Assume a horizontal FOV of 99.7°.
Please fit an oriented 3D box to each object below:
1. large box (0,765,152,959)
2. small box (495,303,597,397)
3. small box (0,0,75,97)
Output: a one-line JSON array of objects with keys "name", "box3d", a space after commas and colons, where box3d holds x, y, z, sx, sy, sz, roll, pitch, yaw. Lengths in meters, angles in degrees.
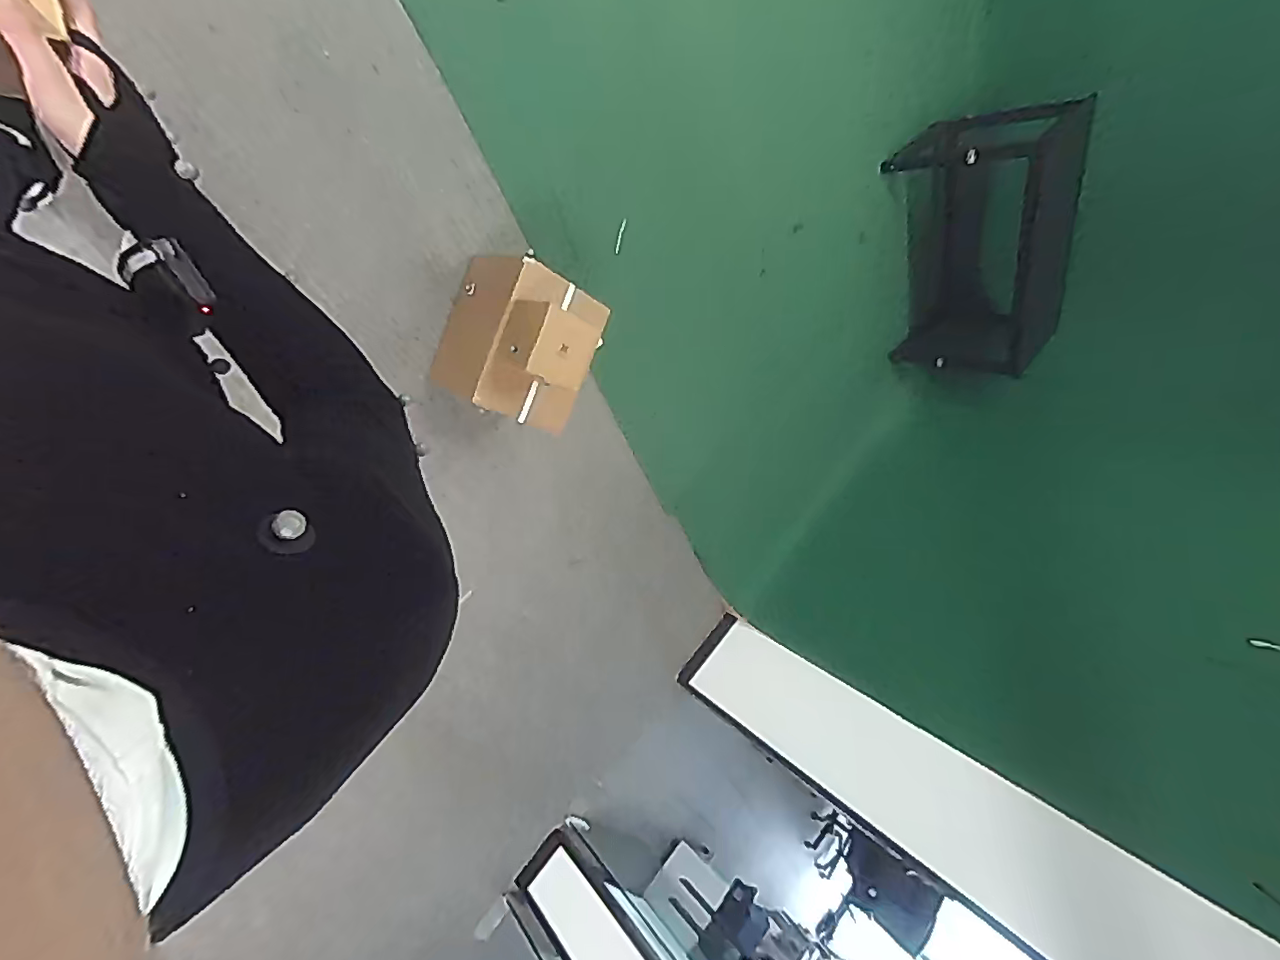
[{"name": "large box", "box3d": [-1.397, 0.945, 1.200, 0.408, 0.320, 0.320, -16, 119, -40]}, {"name": "small box", "box3d": [-0.247, -0.335, 1.388, 0.168, 0.176, 0.179, 20, 92, -46]}, {"name": "small box", "box3d": [-0.541, -0.399, 0.380, 0.179, 0.176, 0.168, -16, 112, -40]}]
